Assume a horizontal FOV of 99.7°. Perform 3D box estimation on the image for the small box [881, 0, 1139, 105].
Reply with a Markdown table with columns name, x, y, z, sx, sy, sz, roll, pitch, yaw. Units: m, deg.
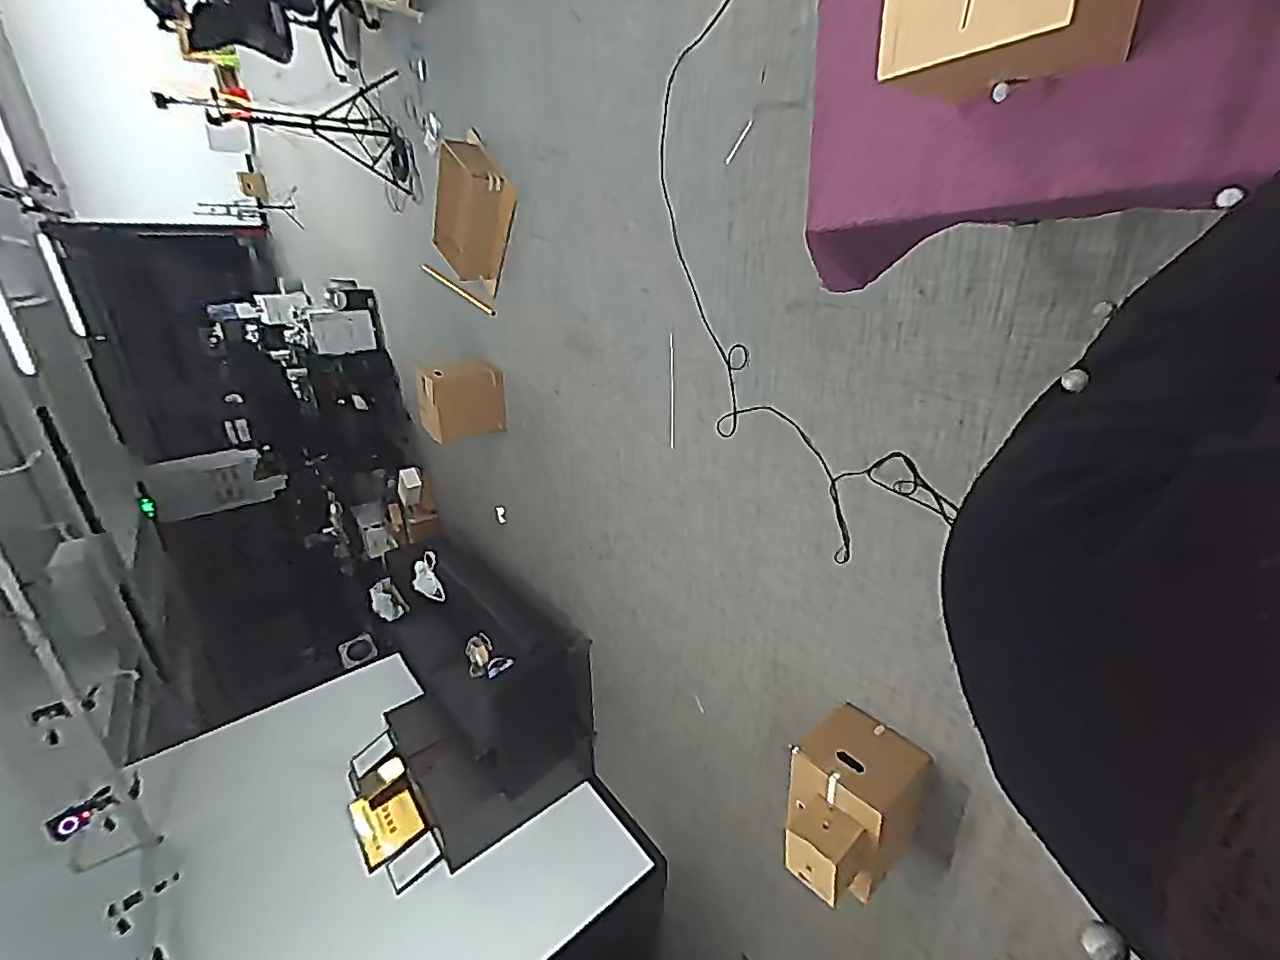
| name | x | y | z | sx | sy | sz | roll | pitch | yaw |
| --- | --- | --- | --- | --- | --- | --- | --- | --- | --- |
| small box | 0.358 | -0.486 | 0.511 | 0.168 | 0.176 | 0.179 | 23 | 123 | 47 |

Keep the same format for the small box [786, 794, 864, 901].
| name | x | y | z | sx | sy | sz | roll | pitch | yaw |
| --- | --- | --- | --- | --- | --- | --- | --- | --- | --- |
| small box | 0.567 | 1.113 | 1.655 | 0.168 | 0.176 | 0.179 | 18 | 118 | 47 |
